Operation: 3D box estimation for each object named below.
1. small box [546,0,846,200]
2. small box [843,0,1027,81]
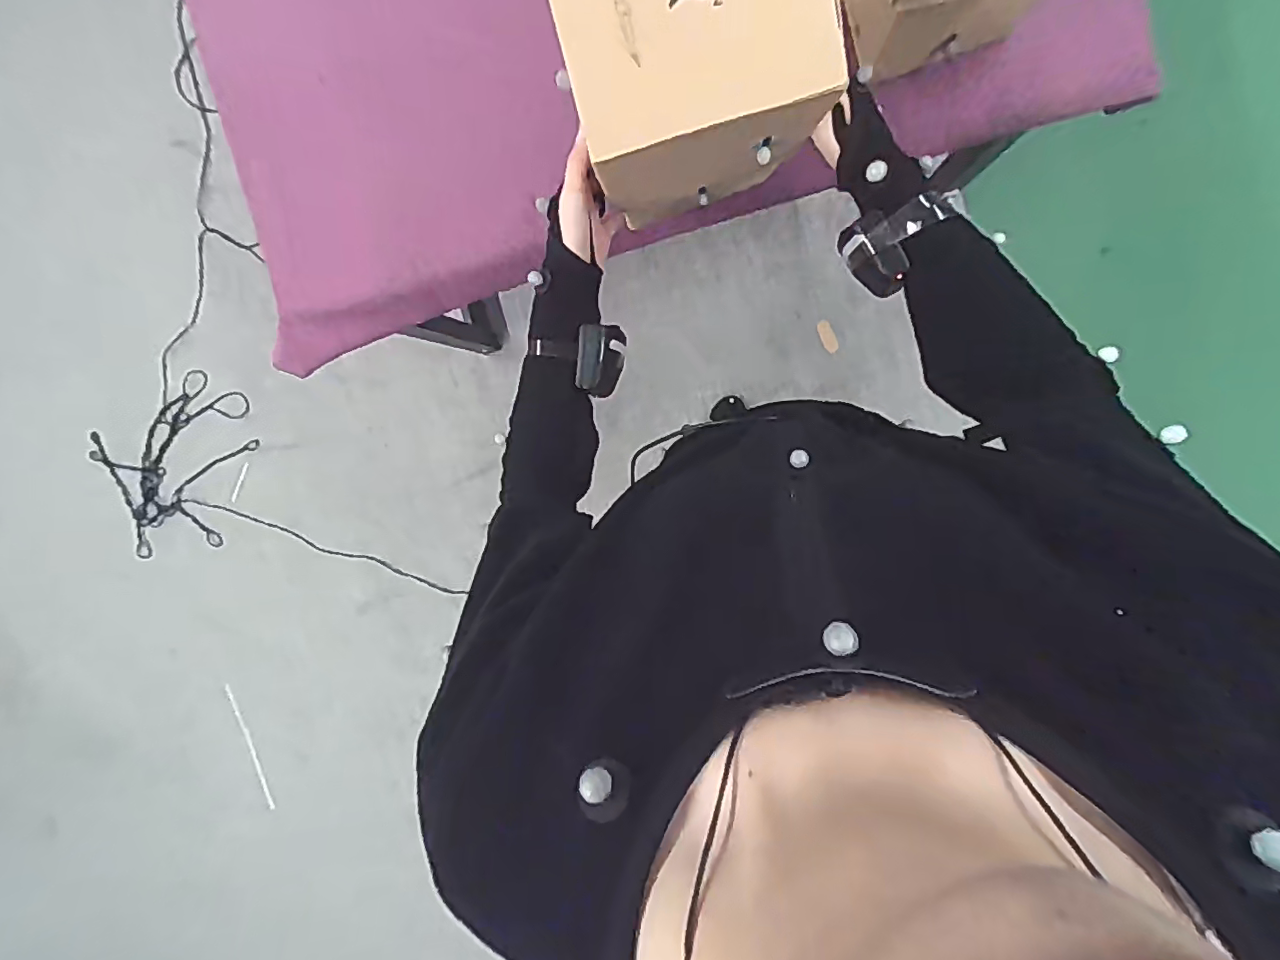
[{"bbox_3d":[0.030,-0.331,0.402,0.179,0.176,0.168,-13,105,7],"label":"small box"},{"bbox_3d":[0.332,-0.588,0.585,0.179,0.176,0.168,-15,92,10],"label":"small box"}]
